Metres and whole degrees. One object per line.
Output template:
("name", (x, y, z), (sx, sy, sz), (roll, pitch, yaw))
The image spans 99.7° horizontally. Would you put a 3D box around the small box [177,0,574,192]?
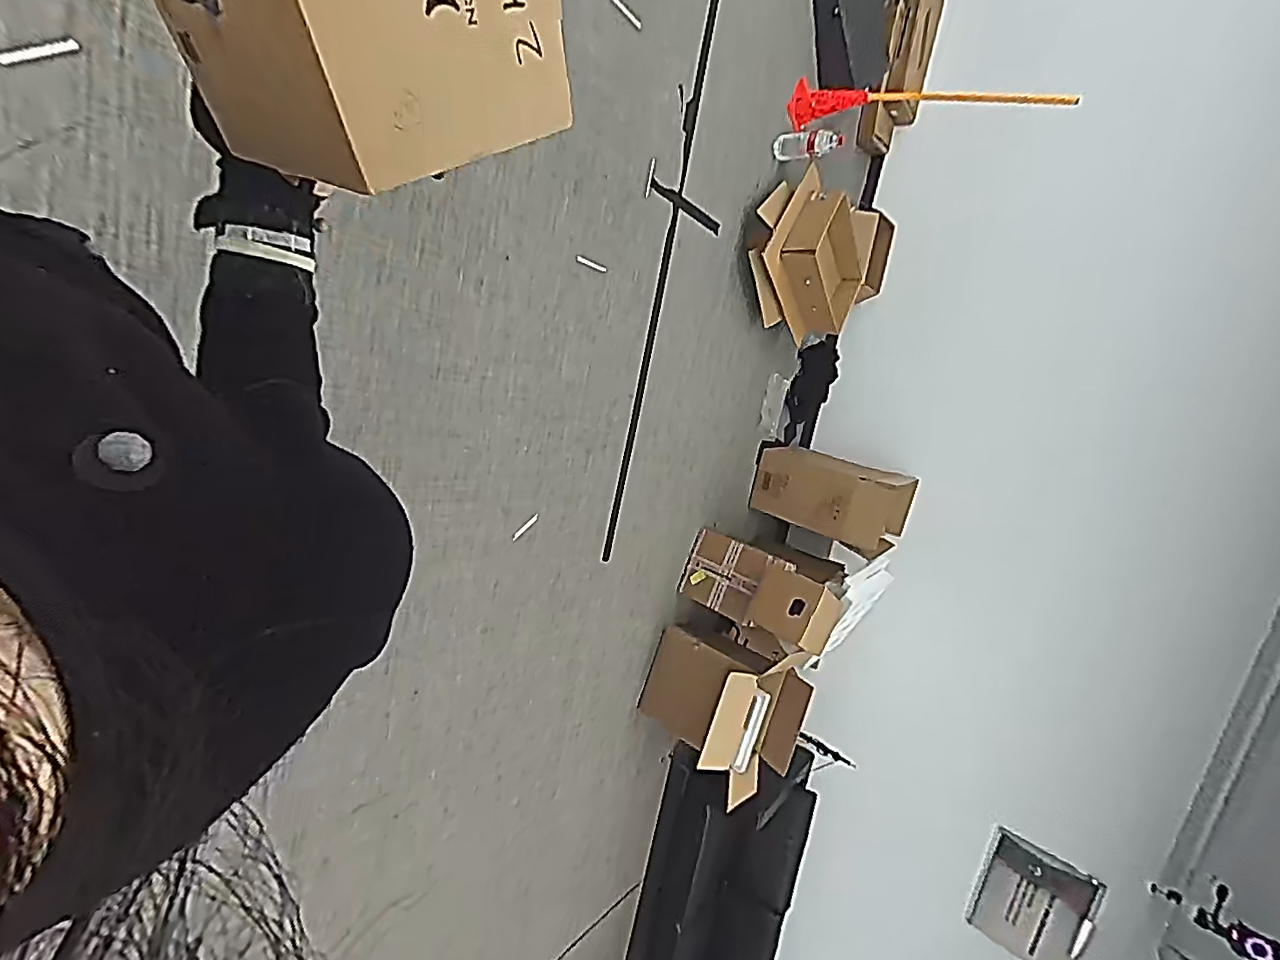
("small box", (-0.168, -0.300, 0.332), (0.179, 0.176, 0.168), (-44, 149, -33))
